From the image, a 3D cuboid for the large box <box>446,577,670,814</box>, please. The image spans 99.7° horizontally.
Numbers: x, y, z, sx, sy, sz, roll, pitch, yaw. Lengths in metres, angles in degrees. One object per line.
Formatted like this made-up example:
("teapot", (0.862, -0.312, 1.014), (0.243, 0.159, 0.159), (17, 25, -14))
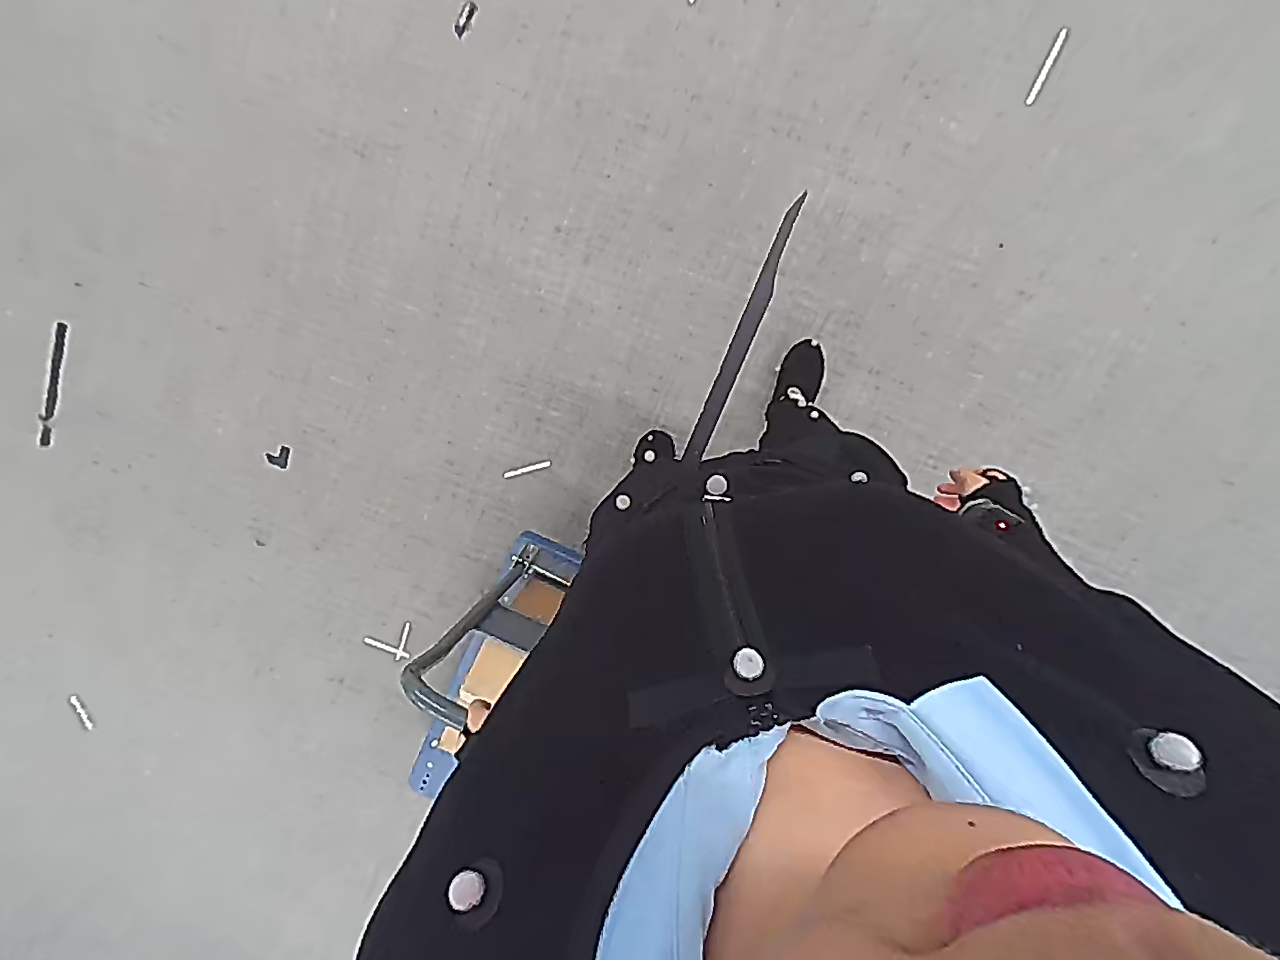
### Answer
("large box", (-0.174, 0.495, 1.307), (0.408, 0.320, 0.320), (26, 103, 1))
